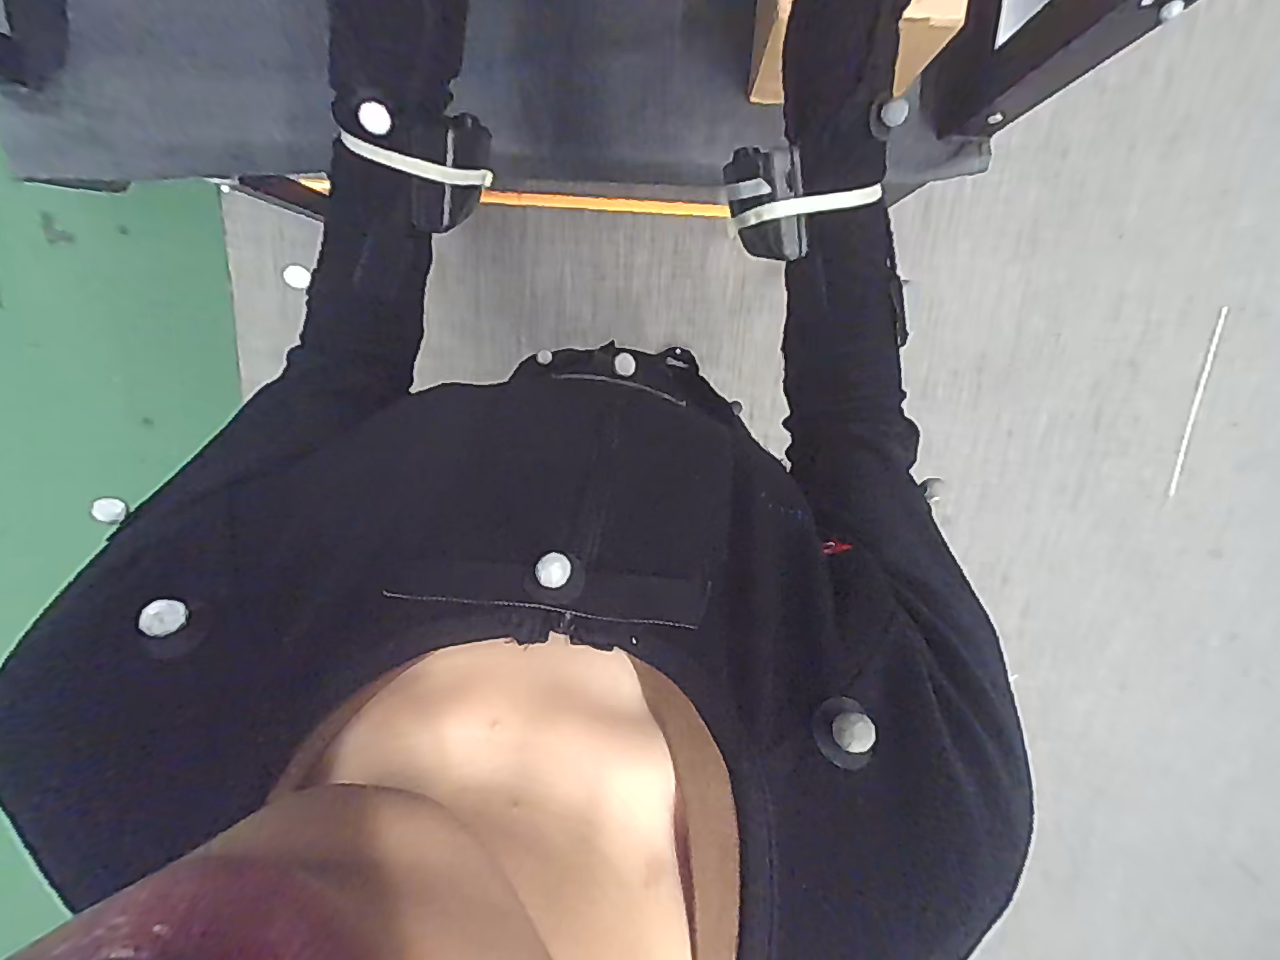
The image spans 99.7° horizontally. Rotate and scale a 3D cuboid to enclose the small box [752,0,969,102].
[{"bbox_3d":[0.208,-0.507,0.524,0.168,0.176,0.179,4,104,2],"label":"small box"}]
